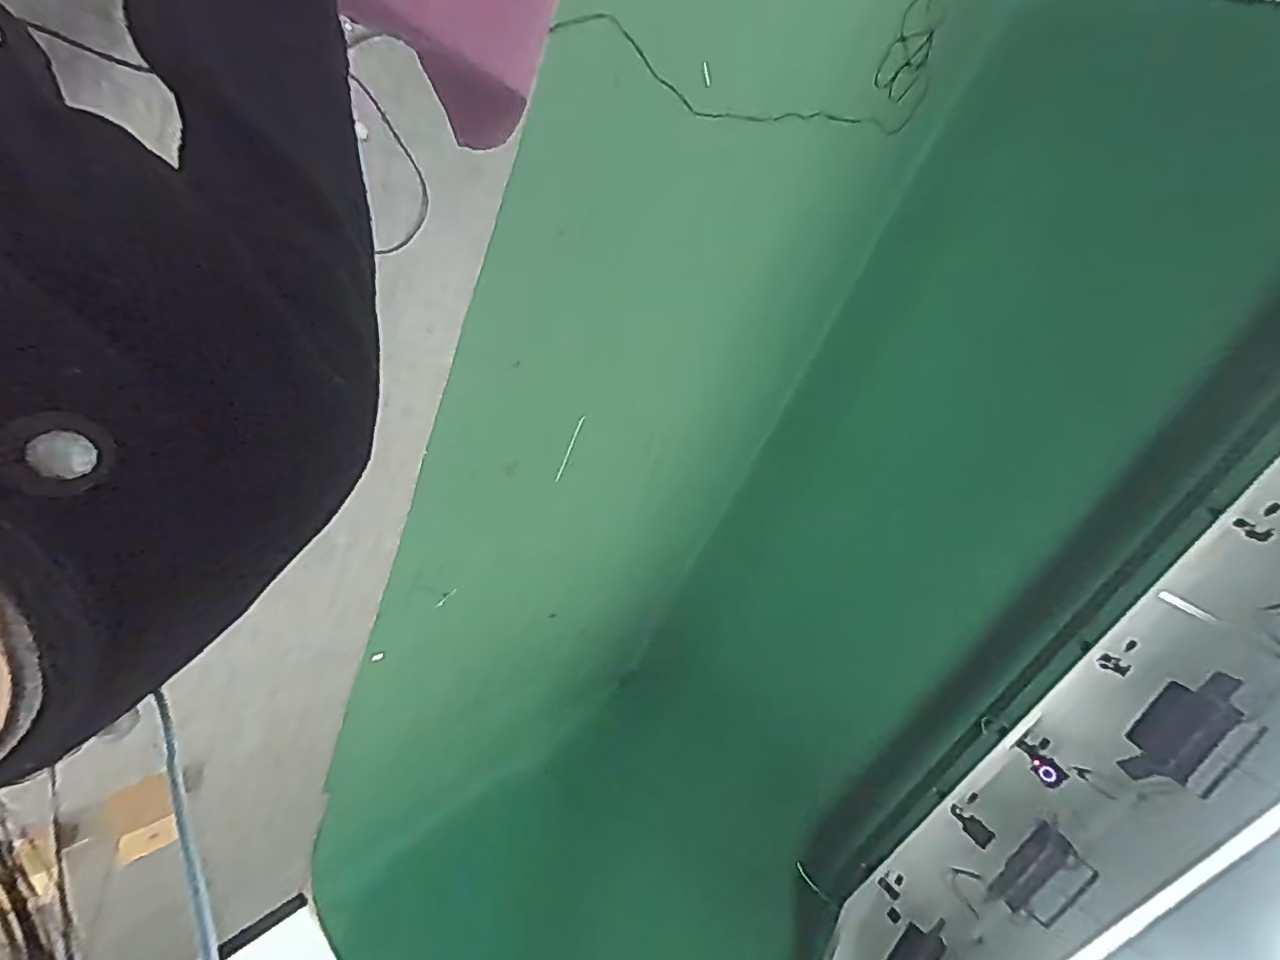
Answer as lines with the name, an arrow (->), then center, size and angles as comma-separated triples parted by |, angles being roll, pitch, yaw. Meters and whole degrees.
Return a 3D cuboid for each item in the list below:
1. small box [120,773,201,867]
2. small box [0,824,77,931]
small box -> -1.647, 1.157, 1.852 | 0.179, 0.176, 0.168 | -10, 130, -55
small box -> -1.822, 1.178, 1.602 | 0.168, 0.176, 0.179 | 5, 116, -60
